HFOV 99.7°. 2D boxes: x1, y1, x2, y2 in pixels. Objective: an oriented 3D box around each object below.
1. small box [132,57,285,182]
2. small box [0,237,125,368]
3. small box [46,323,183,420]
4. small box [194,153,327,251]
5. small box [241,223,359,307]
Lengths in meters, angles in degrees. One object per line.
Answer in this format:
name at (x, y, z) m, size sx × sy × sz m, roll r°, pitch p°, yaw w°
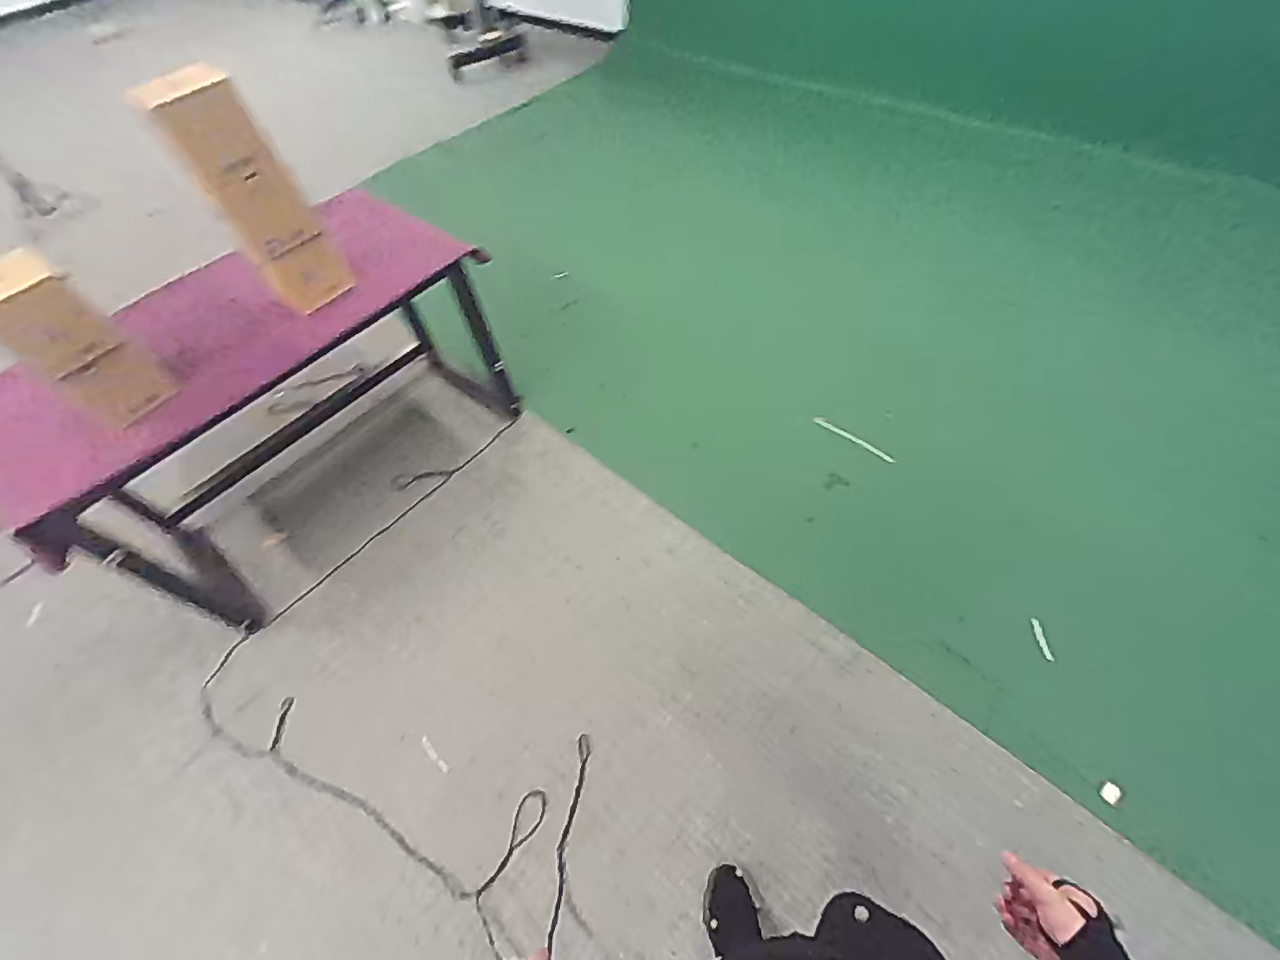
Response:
small box at (-0.919, -0.772, 1.163) m, size 0.179 × 0.176 × 0.168 m, roll 36°, pitch 66°, yaw 27°
small box at (-1.219, -0.353, 1.097) m, size 0.179 × 0.176 × 0.168 m, roll 31°, pitch 62°, yaw 23°
small box at (-1.220, -0.267, 1.239) m, size 0.179 × 0.176 × 0.168 m, roll 29°, pitch 63°, yaw 23°
small box at (-0.897, -0.677, 1.293) m, size 0.179 × 0.176 × 0.168 m, roll 34°, pitch 65°, yaw 28°
small box at (-0.888, -0.585, 1.430) m, size 0.179 × 0.176 × 0.168 m, roll 32°, pitch 64°, yaw 26°
